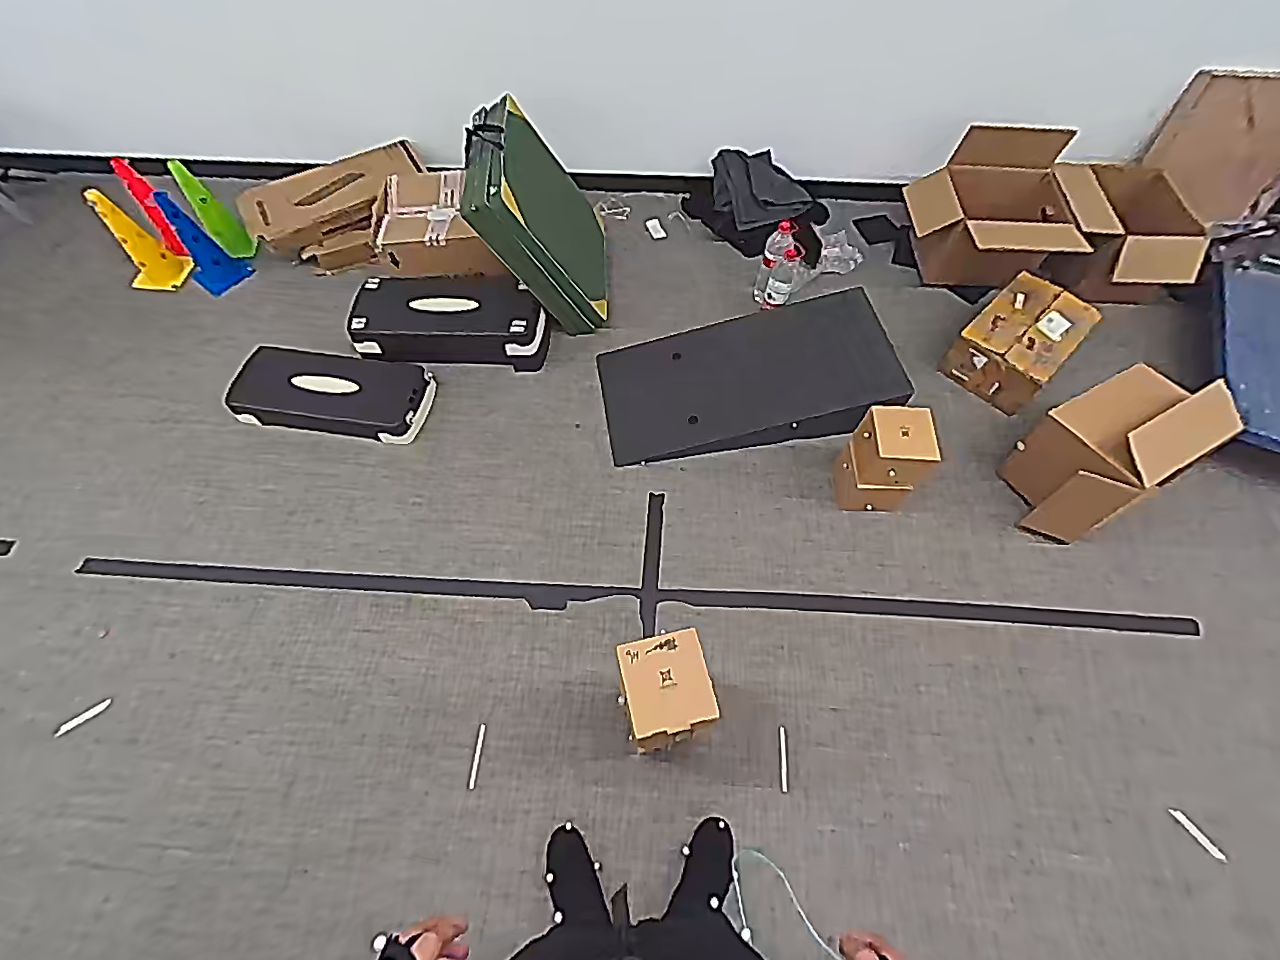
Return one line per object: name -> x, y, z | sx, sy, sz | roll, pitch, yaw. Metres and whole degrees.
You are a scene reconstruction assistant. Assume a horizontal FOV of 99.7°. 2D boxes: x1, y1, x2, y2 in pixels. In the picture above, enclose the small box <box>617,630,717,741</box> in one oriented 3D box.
small box -> 0.050, 0.427, 1.114 | 0.168, 0.176, 0.179 | -11, 63, -7
